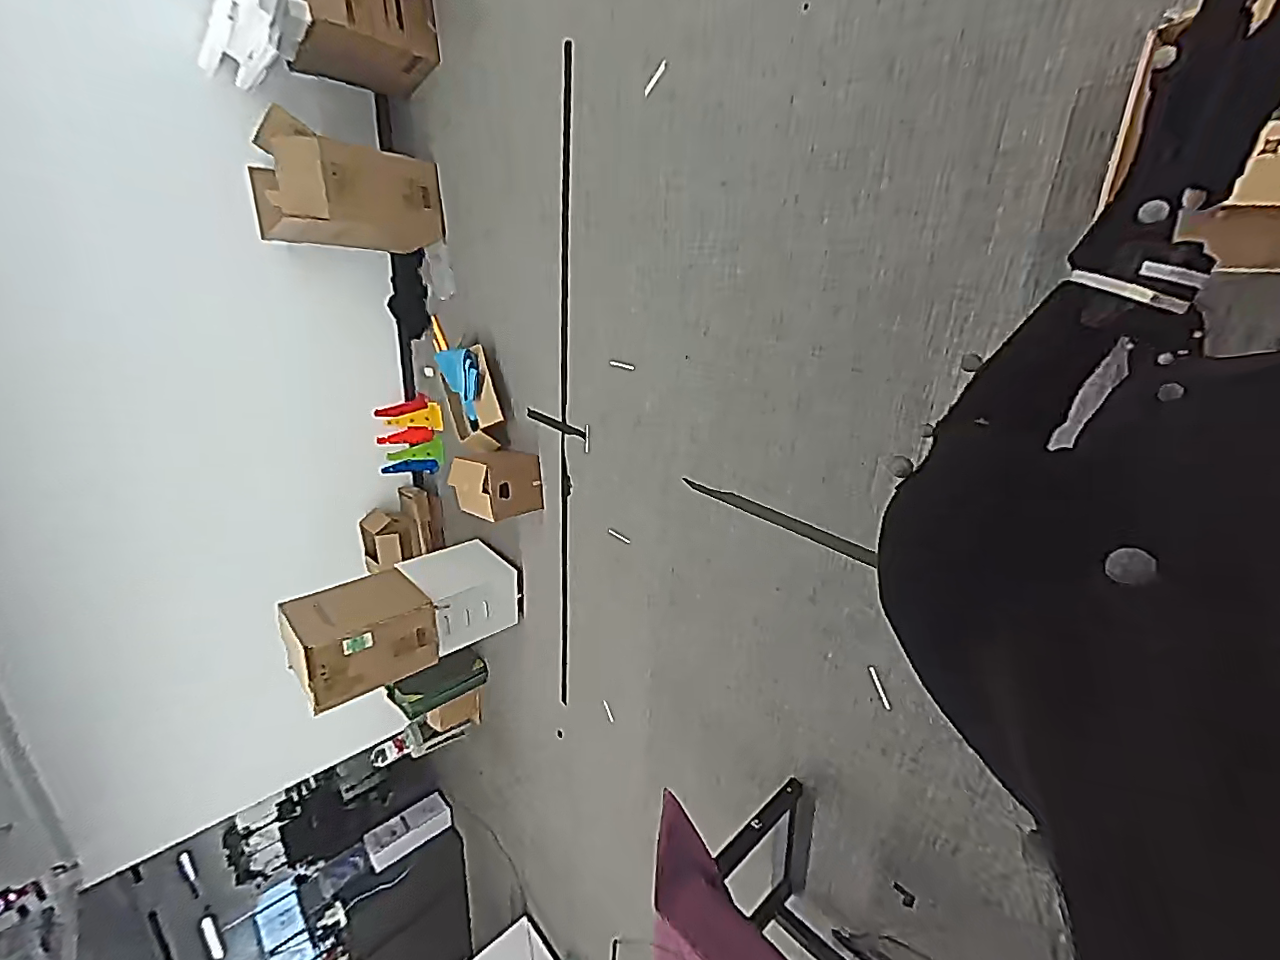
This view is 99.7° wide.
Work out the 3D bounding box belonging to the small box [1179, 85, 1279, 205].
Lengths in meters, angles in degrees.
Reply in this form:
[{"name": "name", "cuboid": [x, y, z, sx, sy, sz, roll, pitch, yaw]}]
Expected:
[{"name": "small box", "cuboid": [1.020, -0.539, 0.862, 0.179, 0.176, 0.168, 27, 122, 41]}]
